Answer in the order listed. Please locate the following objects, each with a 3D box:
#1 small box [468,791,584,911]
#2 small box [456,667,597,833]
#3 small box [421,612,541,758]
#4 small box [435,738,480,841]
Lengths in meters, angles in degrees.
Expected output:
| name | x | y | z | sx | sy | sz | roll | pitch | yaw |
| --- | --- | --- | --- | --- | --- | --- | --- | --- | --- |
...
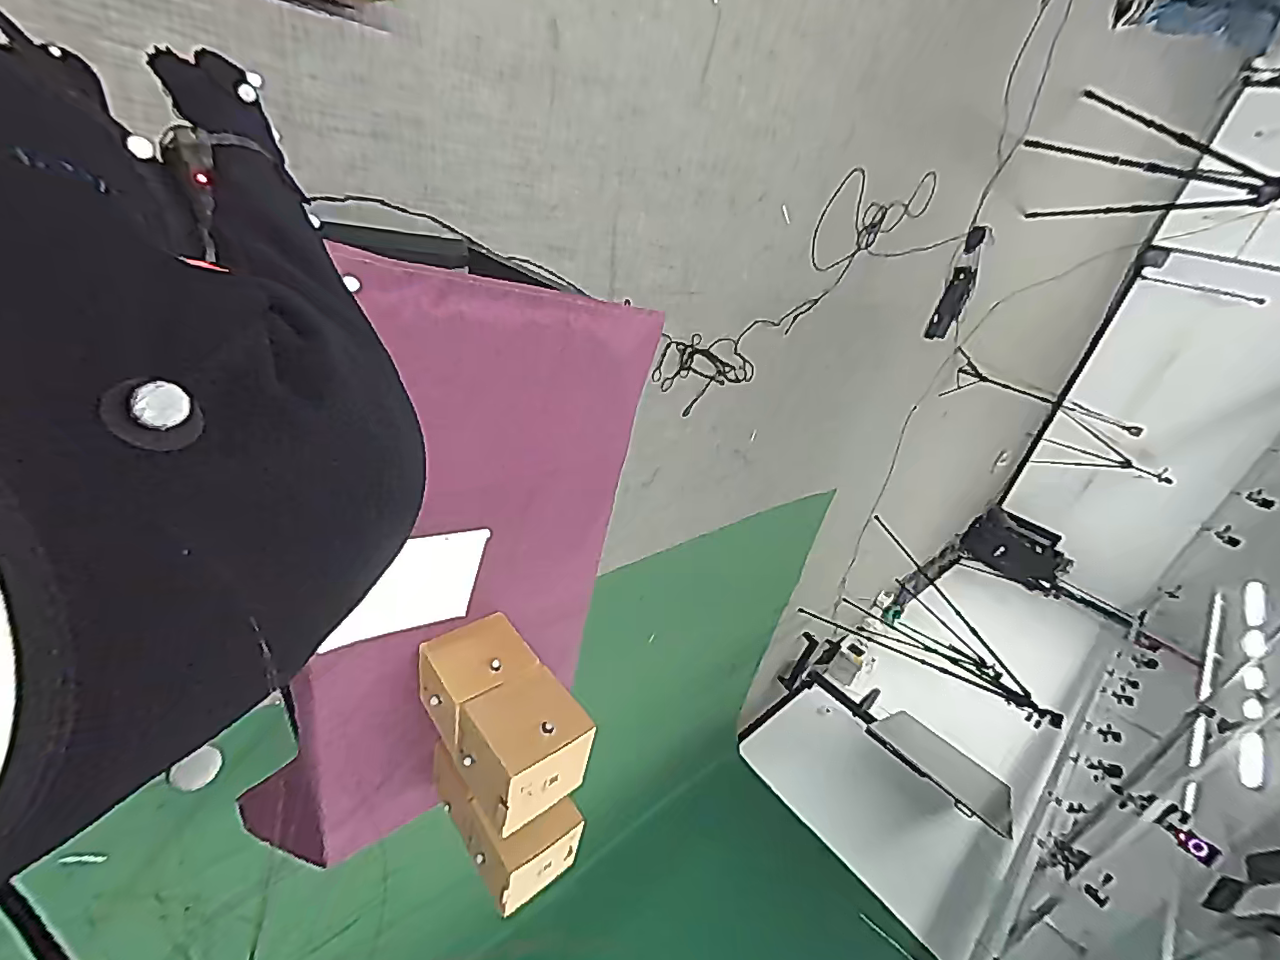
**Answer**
| name | x | y | z | sx | sy | sz | roll | pitch | yaw |
| --- | --- | --- | --- | --- | --- | --- | --- | --- | --- |
| small box | -0.246 | 0.737 | 1.141 | 0.179 | 0.176 | 0.168 | -12 | 127 | -41 |
| small box | -0.208 | 0.474 | 0.978 | 0.179 | 0.176 | 0.168 | -13 | 126 | -42 |
| small box | -0.320 | 0.396 | 1.071 | 0.179 | 0.176 | 0.168 | -16 | 129 | -40 |
| small box | -0.353 | 0.665 | 1.243 | 0.179 | 0.176 | 0.168 | -13 | 127 | -42 |
